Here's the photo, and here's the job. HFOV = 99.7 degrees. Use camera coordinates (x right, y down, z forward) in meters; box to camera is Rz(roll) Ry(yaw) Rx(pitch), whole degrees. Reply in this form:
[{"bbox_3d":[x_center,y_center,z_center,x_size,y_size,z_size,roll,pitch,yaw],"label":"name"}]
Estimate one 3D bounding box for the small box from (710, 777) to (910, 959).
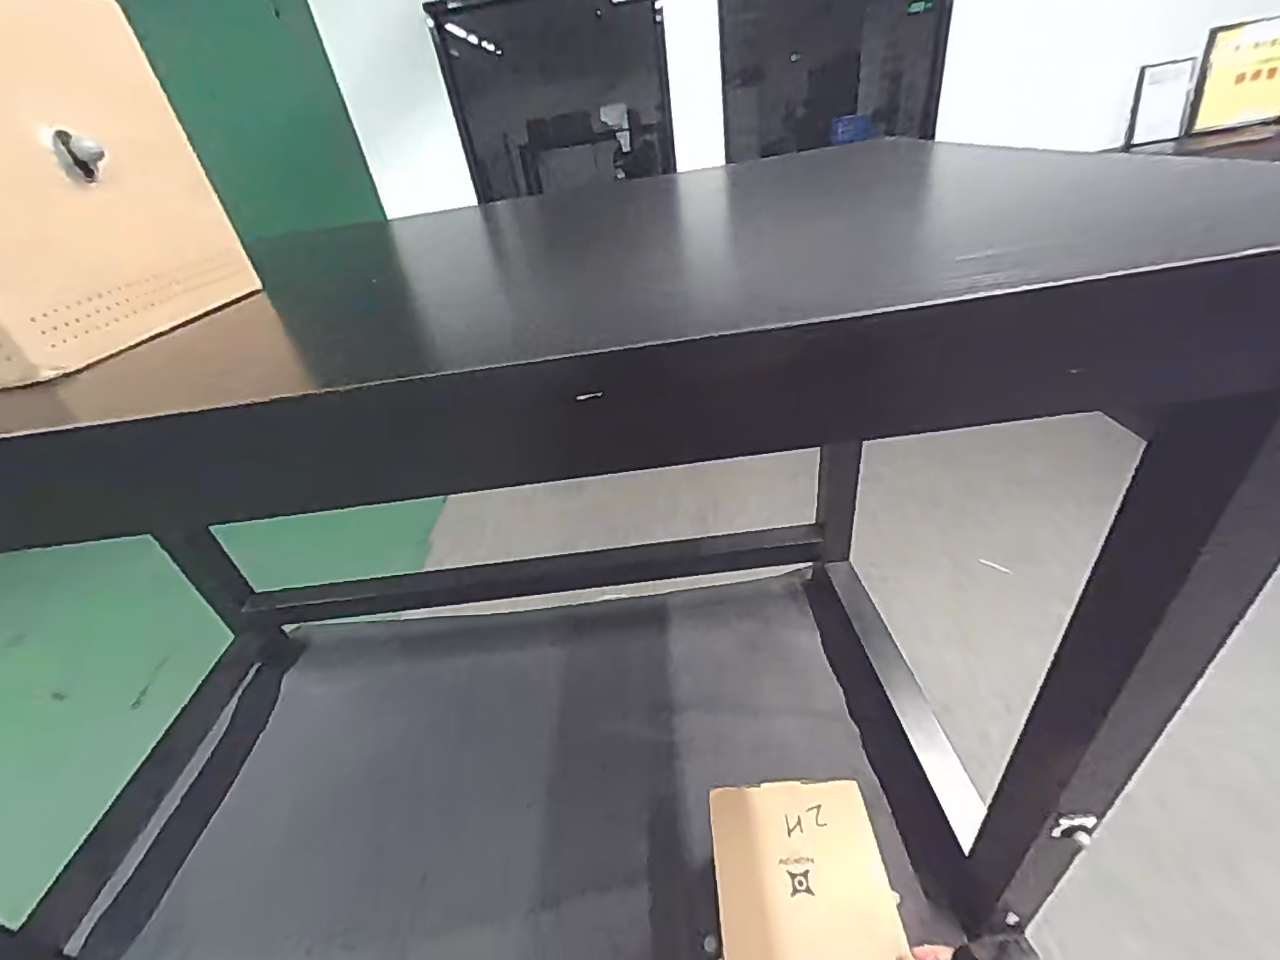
[{"bbox_3d":[0.170,0.454,0.584,0.168,0.176,0.179,-6,34,4],"label":"small box"}]
